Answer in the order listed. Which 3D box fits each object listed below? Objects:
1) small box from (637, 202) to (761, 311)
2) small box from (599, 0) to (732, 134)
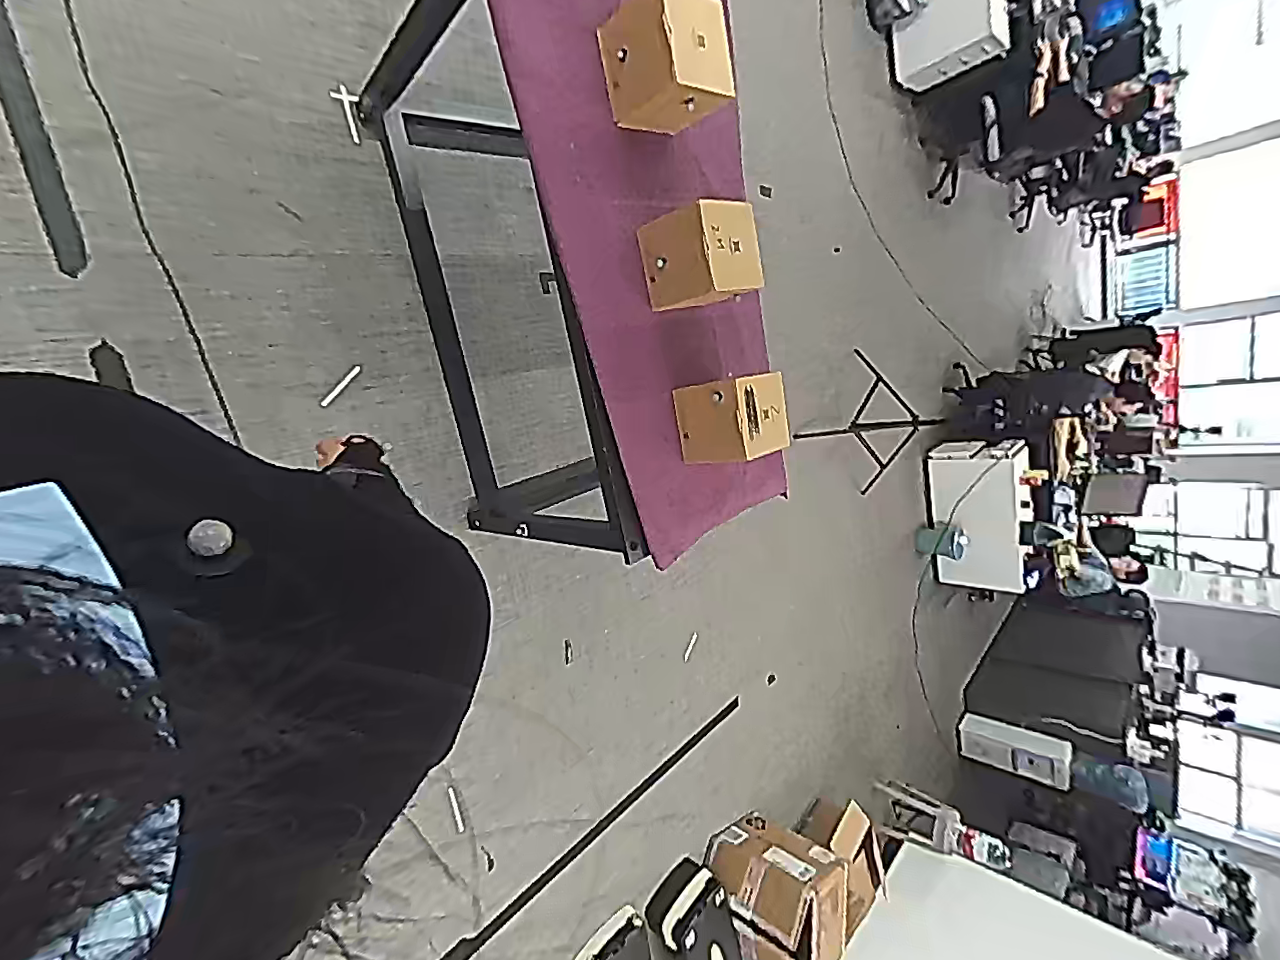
[{"bbox_3d":[0.120,-0.450,1.106,0.179,0.176,0.168,-22,106,-41],"label":"small box"},{"bbox_3d":[0.049,-0.788,1.030,0.179,0.176,0.168,-23,108,-40],"label":"small box"}]
